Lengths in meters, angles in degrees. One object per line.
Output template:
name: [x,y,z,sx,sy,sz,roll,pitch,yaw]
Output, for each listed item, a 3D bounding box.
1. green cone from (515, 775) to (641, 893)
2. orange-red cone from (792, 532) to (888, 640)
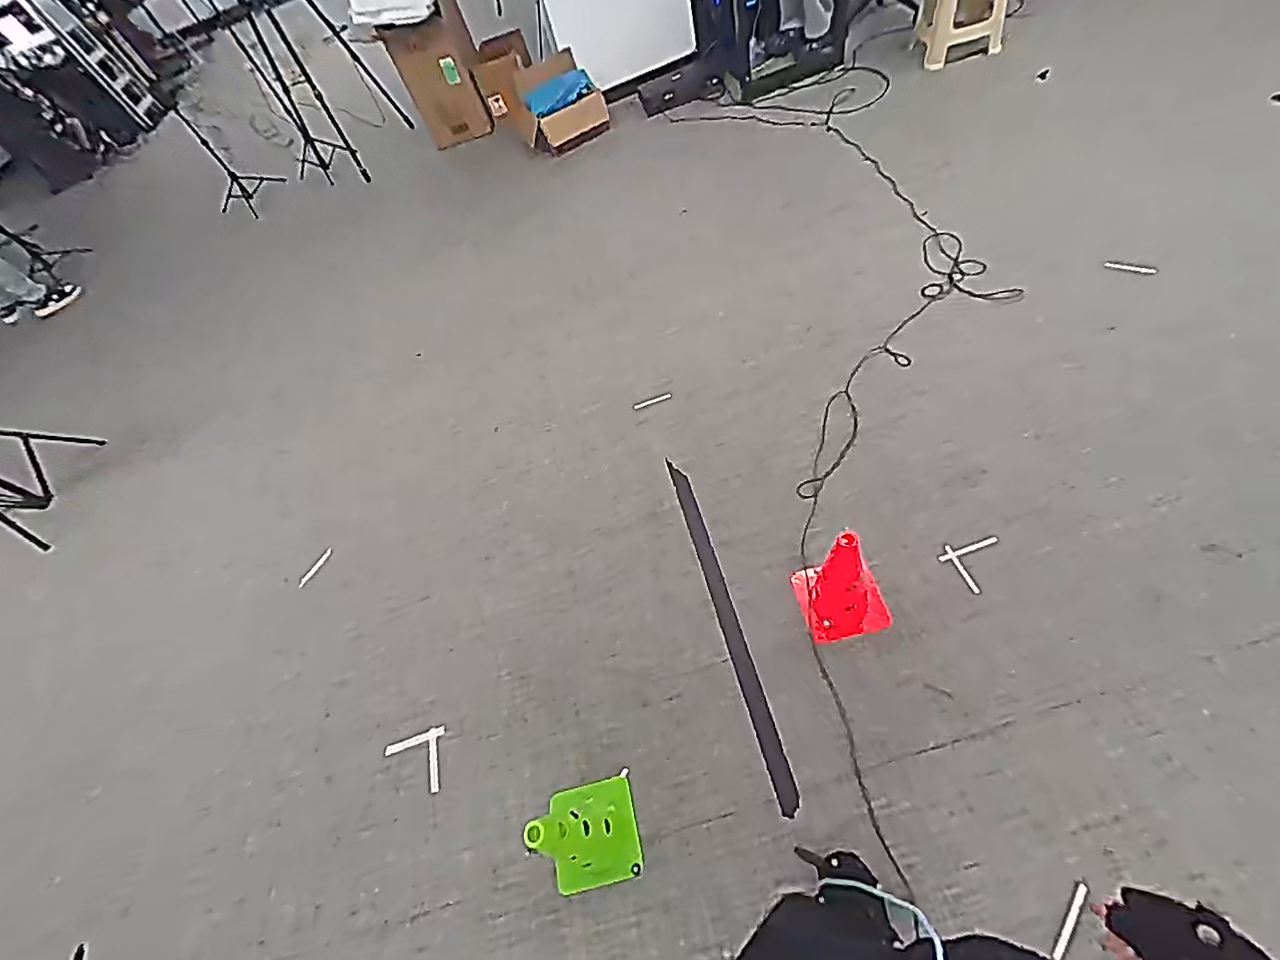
green cone: [-0.153,0.715,1.104,0.202,0.368,0.200,-20,54,5]
orange-red cone: [0.471,0.214,1.255,0.199,0.360,0.198,-15,56,6]
